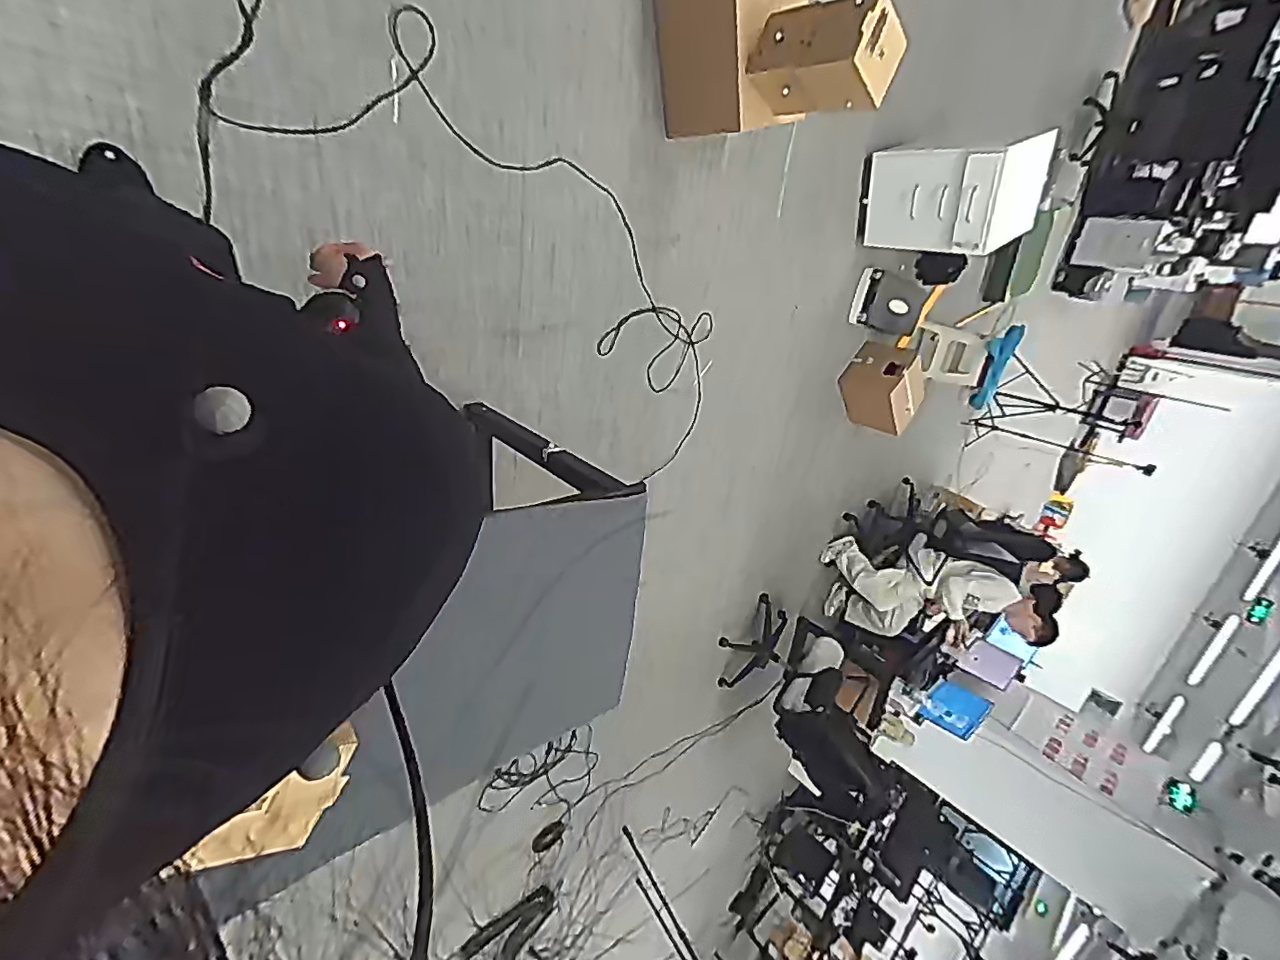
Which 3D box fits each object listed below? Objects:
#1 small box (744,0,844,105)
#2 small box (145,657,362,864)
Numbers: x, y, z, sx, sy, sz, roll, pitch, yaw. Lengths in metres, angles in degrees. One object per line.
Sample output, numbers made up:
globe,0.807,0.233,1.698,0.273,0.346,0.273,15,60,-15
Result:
small box,0.413,-1.155,1.469,0.179,0.176,0.168,15,101,-46
small box,-0.518,0.354,0.721,0.179,0.176,0.168,25,94,-51
